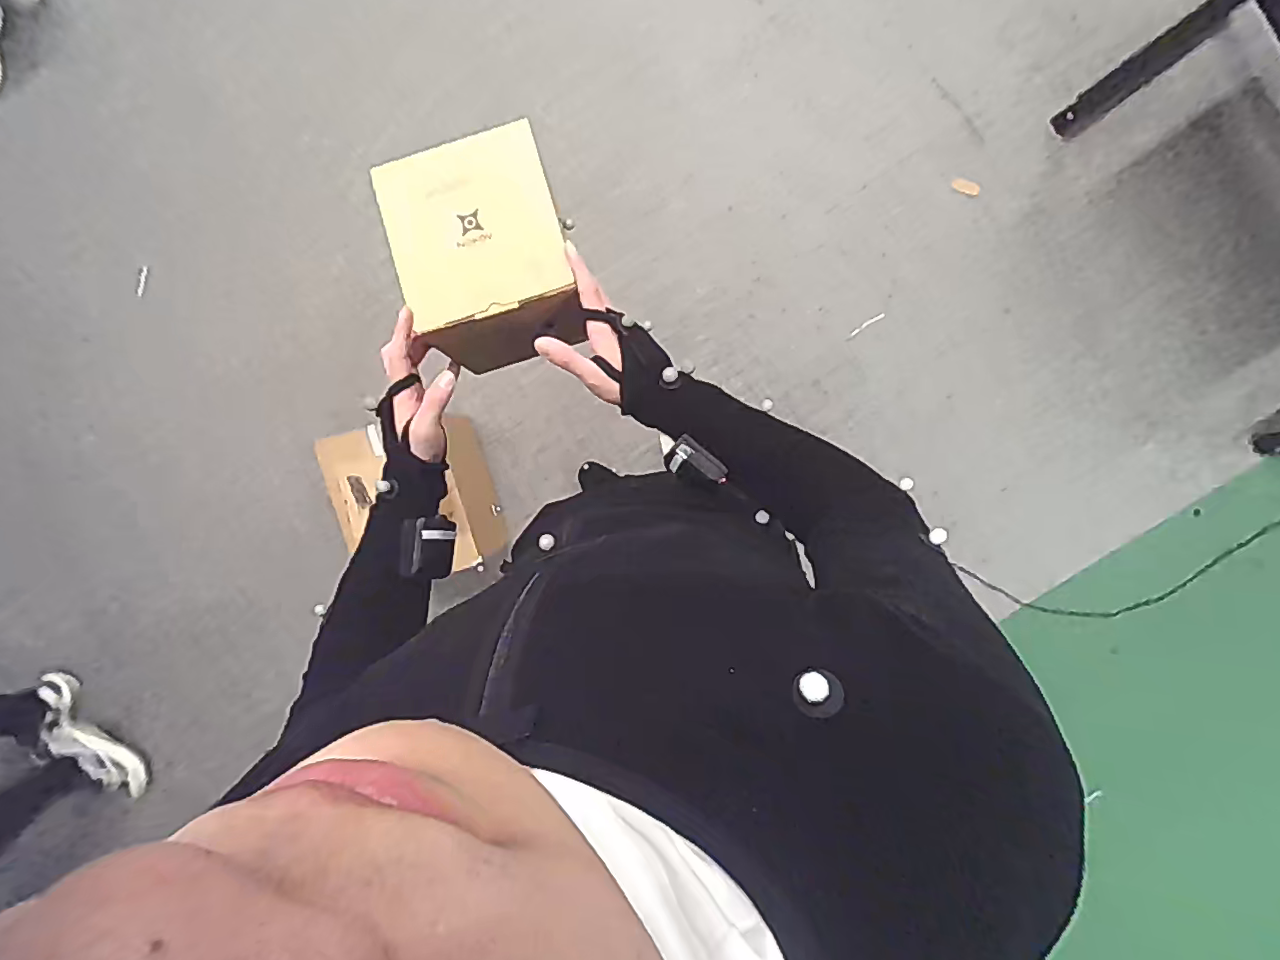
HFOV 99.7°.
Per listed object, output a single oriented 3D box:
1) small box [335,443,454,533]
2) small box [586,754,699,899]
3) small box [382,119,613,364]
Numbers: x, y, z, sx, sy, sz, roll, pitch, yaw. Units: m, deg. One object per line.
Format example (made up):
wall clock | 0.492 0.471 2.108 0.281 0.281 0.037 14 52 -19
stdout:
small box | -0.558 0.013 1.249 0.179 0.176 0.168 -14 95 0
small box | 0.004 0.722 1.149 0.179 0.176 0.168 27 95 -3
small box | -0.142 -0.243 0.608 0.168 0.176 0.179 -23 90 6
